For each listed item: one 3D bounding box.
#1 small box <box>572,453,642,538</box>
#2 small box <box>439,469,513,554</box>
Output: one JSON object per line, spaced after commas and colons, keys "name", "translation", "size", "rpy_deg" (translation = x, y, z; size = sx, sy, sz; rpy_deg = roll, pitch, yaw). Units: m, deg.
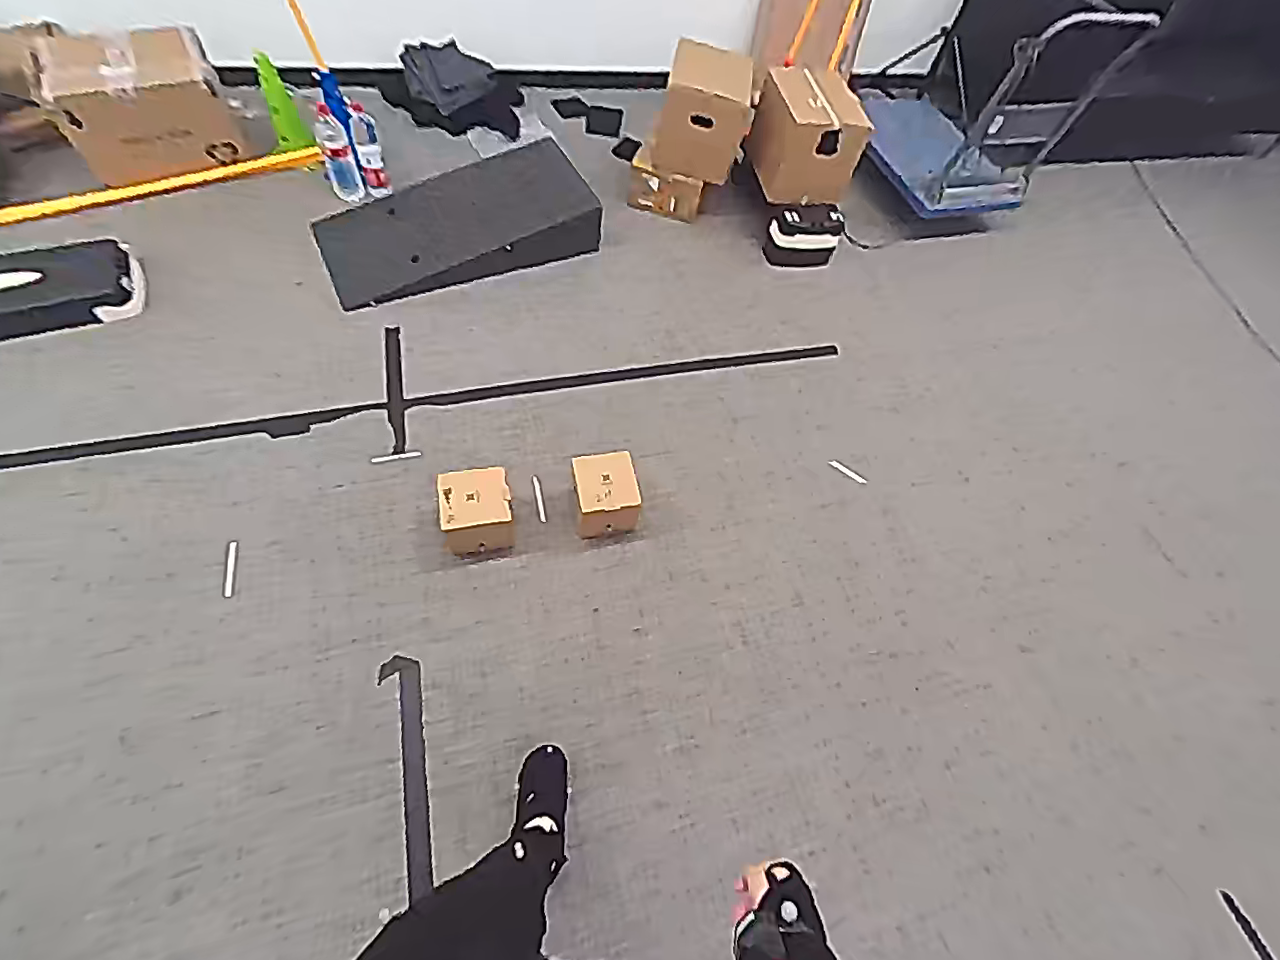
{"name": "small box", "translation": [-0.101, 0.045, 1.537], "size": [0.168, 0.176, 0.179], "rpy_deg": [-7, 62, -12]}
{"name": "small box", "translation": [-0.437, 0.087, 1.459], "size": [0.179, 0.176, 0.168], "rpy_deg": [-7, 61, -14]}
